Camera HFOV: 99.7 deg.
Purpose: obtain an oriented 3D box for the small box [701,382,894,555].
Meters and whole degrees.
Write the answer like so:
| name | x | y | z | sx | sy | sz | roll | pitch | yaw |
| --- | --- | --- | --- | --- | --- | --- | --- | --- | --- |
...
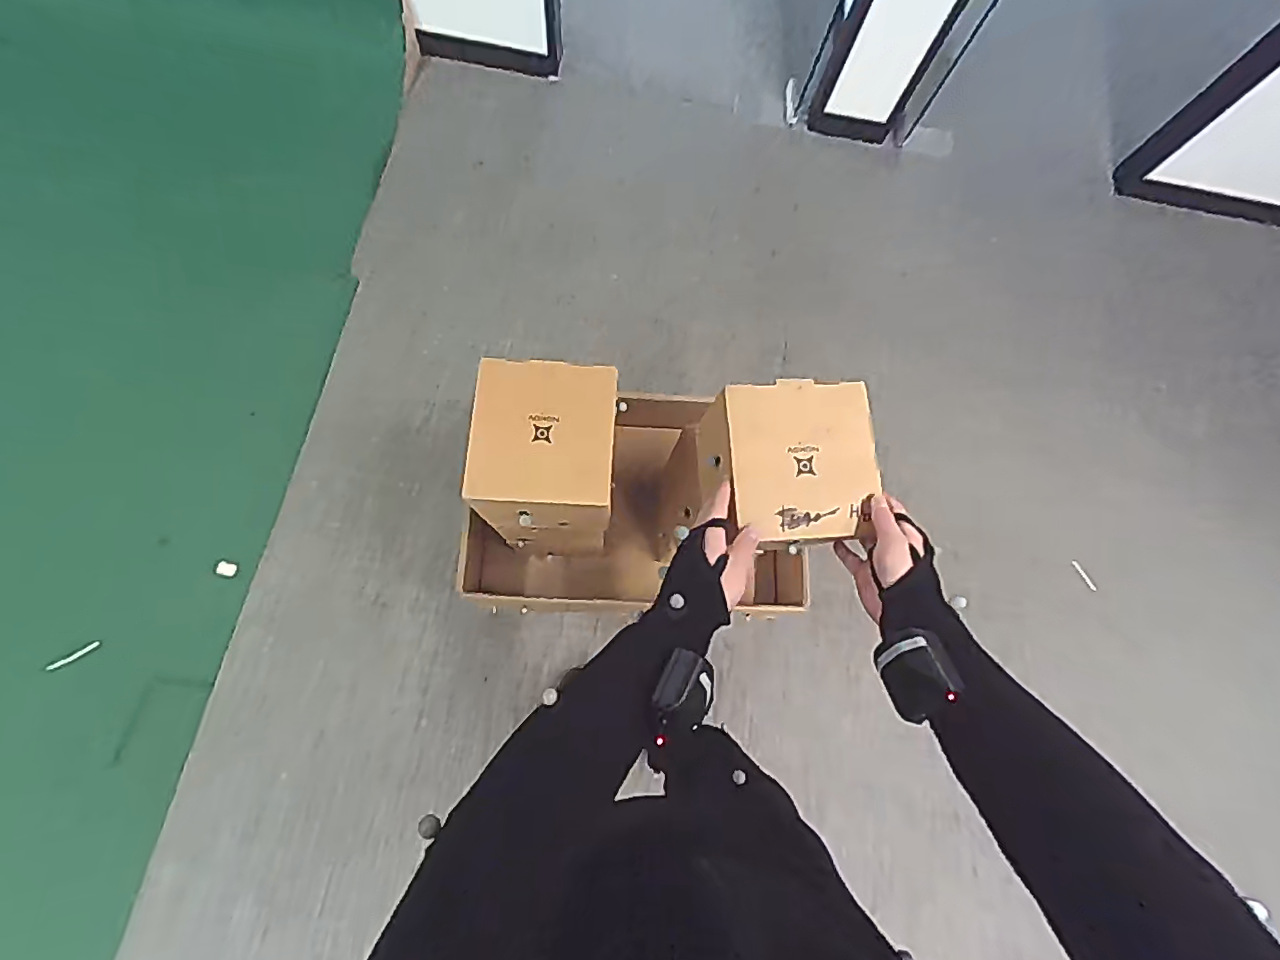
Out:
| name | x | y | z | sx | sy | sz | roll | pitch | yaw |
| --- | --- | --- | --- | --- | --- | --- | --- | --- | --- |
| small box | 0.174 | -0.005 | 0.654 | 0.168 | 0.176 | 0.179 | -2 | 79 | -6 |

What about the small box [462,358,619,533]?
| name | x | y | z | sx | sy | sz | roll | pitch | yaw |
| --- | --- | --- | --- | --- | --- | --- | --- | --- | --- |
| small box | -0.114 | -0.033 | 0.689 | 0.168 | 0.176 | 0.179 | 4 | 73 | -3 |

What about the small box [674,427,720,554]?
| name | x | y | z | sx | sy | sz | roll | pitch | yaw |
| --- | --- | --- | --- | --- | --- | --- | --- | --- | --- |
| small box | 0.152 | 0.023 | 0.864 | 0.168 | 0.176 | 0.179 | -2 | 75 | -6 |

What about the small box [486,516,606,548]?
| name | x | y | z | sx | sy | sz | roll | pitch | yaw |
| --- | --- | --- | --- | --- | --- | --- | --- | --- | --- |
| small box | -0.130 | 0.006 | 0.845 | 0.168 | 0.176 | 0.179 | 5 | 73 | -3 |
